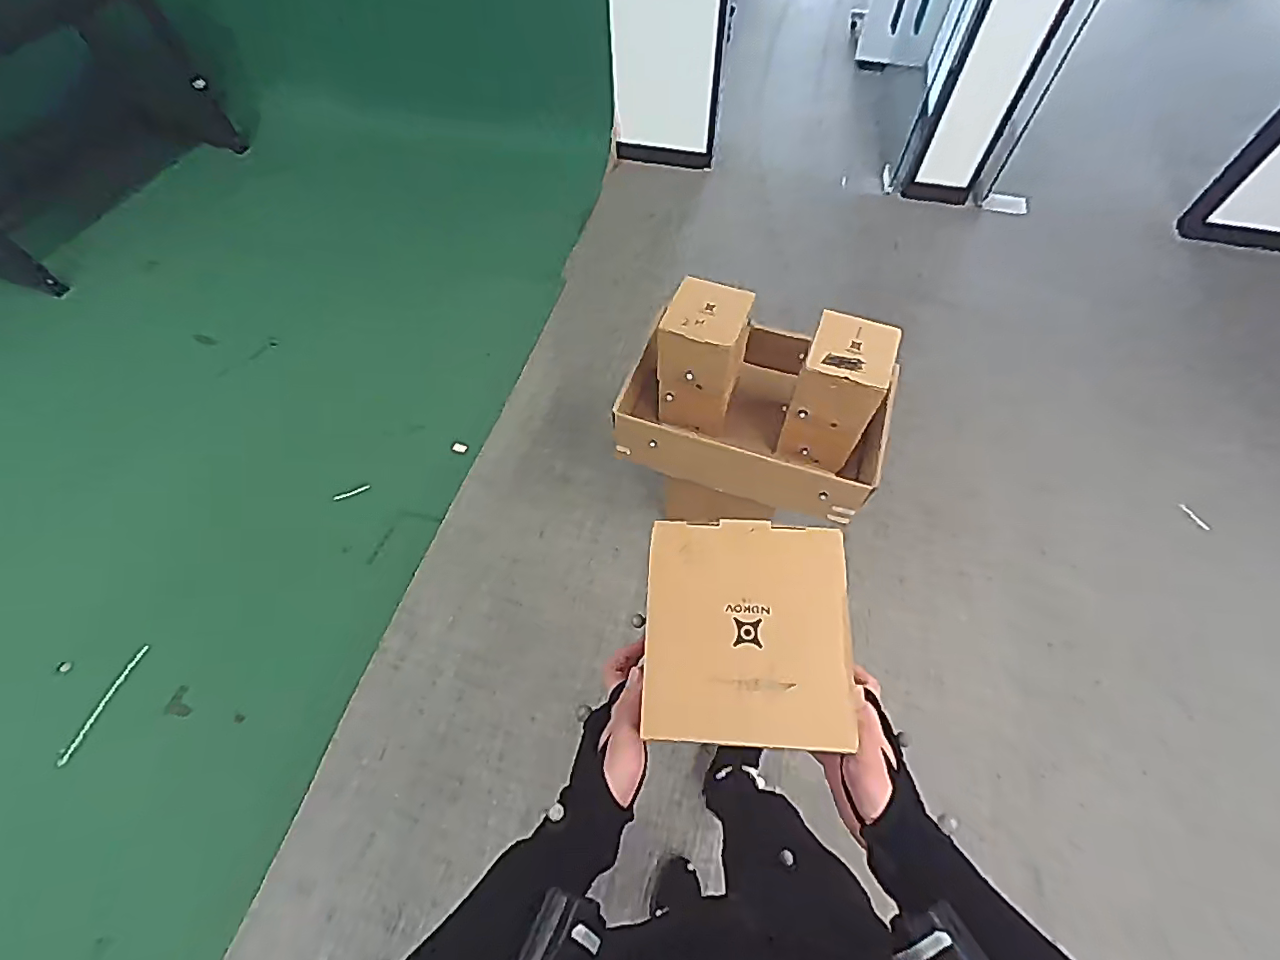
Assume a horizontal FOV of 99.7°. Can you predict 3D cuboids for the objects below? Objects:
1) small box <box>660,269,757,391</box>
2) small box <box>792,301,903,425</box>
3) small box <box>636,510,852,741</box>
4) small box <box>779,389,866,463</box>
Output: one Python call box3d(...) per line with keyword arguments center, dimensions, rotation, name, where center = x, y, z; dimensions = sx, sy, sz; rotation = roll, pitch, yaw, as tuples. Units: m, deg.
box3d(center=(0.148, -0.333, 1.214), dimensions=(0.168, 0.176, 0.179), rotation=(19, 63, 13), name="small box")
box3d(center=(0.435, -0.244, 1.155), dimensions=(0.168, 0.176, 0.179), rotation=(18, 64, 11), name="small box")
box3d(center=(0.086, 0.139, 0.511), dimensions=(0.168, 0.176, 0.179), rotation=(2, 70, 4), name="small box")
box3d(center=(0.445, -0.171, 1.302), dimensions=(0.168, 0.176, 0.179), rotation=(17, 64, 11), name="small box")
